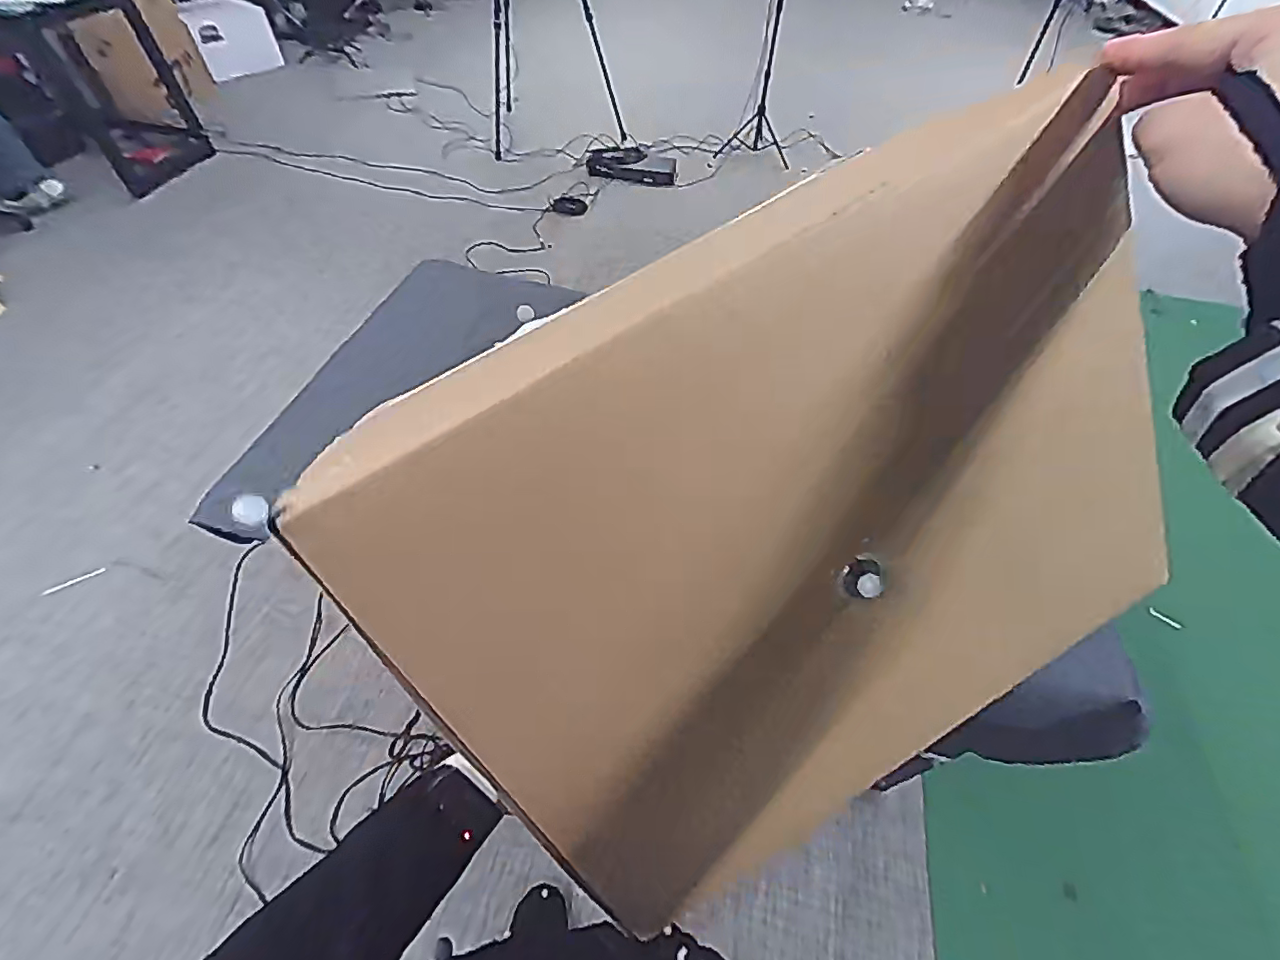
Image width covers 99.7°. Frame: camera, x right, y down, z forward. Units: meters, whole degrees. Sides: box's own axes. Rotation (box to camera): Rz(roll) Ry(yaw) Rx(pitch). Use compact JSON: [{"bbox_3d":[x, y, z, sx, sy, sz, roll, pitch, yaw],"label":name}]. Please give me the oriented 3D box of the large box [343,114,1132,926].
[{"bbox_3d":[0.071,0.009,0.426,0.408,0.320,0.320,-33,22,-7],"label":"large box"}]
